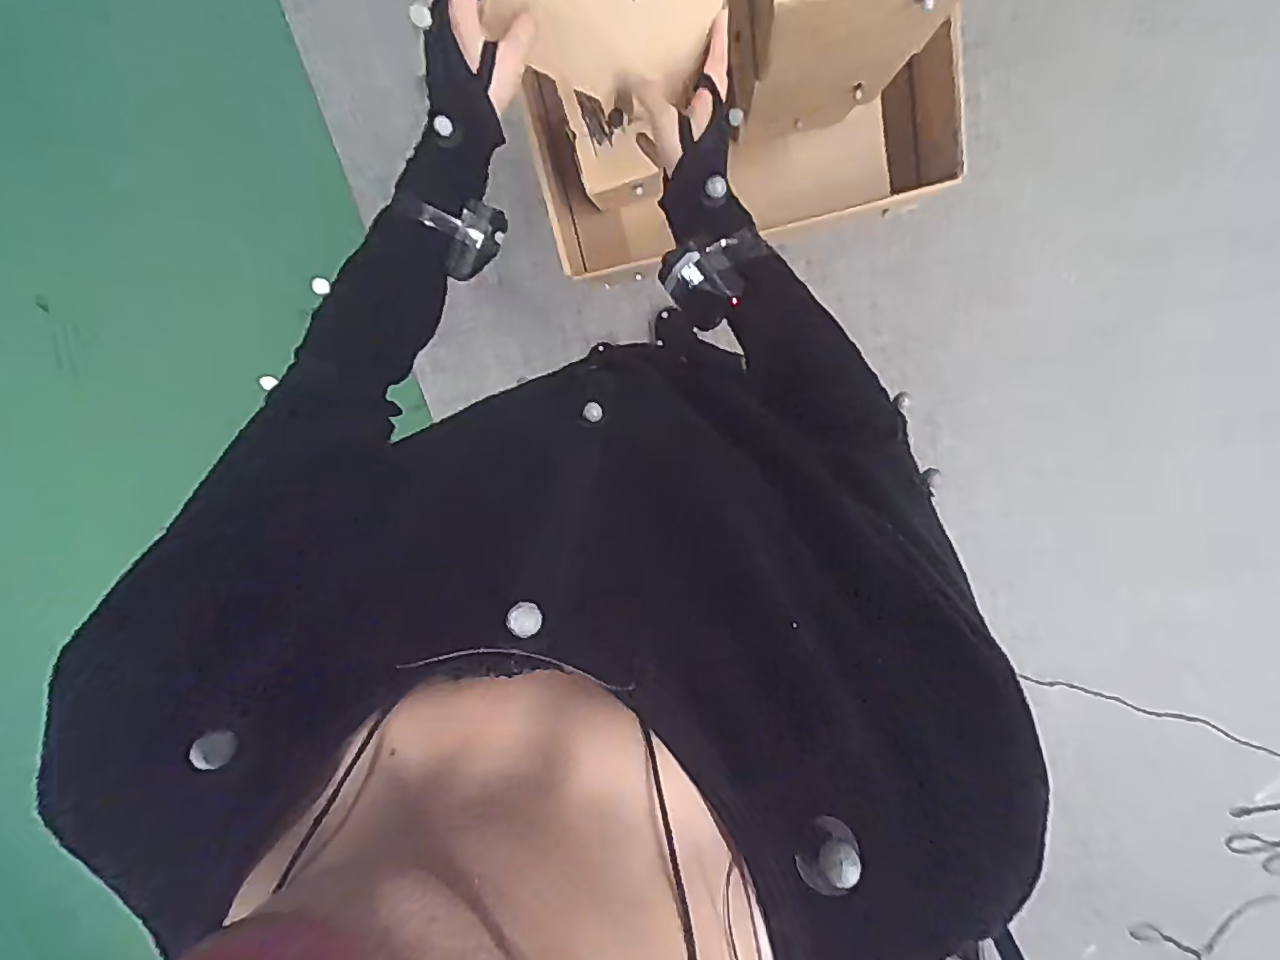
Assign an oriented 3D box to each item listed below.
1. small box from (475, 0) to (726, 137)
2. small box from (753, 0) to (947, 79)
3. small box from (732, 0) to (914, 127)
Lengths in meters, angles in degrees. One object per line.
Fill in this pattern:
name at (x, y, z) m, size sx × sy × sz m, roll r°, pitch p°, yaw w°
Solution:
small box at (-0.032, -0.431, 0.460) m, size 0.179 × 0.176 × 0.168 m, roll 11°, pitch 128°, yaw -22°
small box at (0.194, -0.504, 0.495) m, size 0.179 × 0.176 × 0.168 m, roll -5°, pitch 107°, yaw 9°
small box at (0.209, -0.553, 0.648) m, size 0.179 × 0.176 × 0.168 m, roll -6°, pitch 107°, yaw 10°
